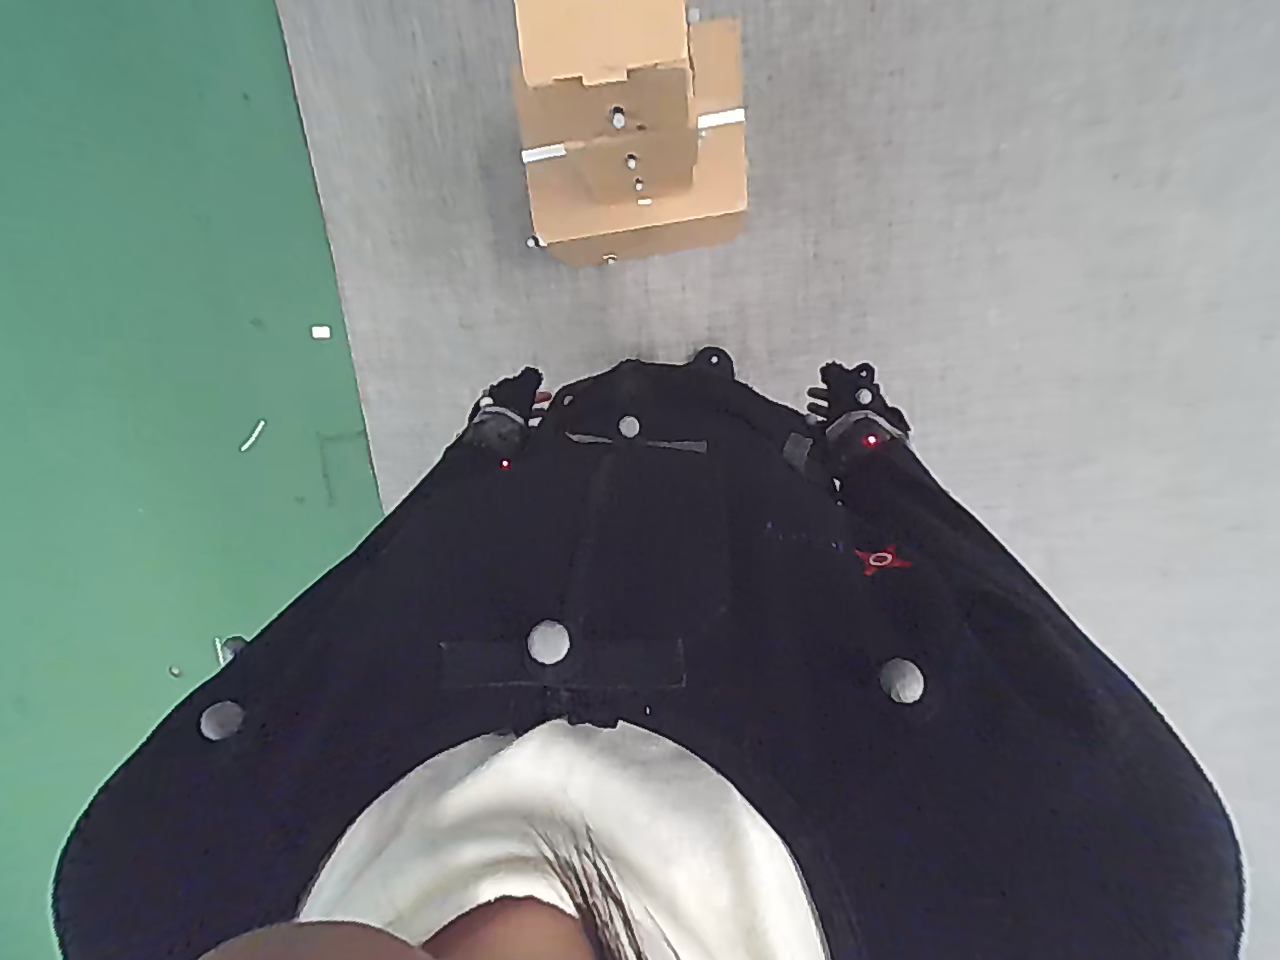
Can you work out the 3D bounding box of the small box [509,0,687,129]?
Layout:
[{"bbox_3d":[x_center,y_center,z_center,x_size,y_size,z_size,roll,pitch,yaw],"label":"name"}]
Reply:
[{"bbox_3d":[-0.036,-0.503,0.583,0.168,0.176,0.179,-2,106,7],"label":"small box"}]

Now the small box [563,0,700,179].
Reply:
[{"bbox_3d":[-0.016,-0.536,0.742,0.179,0.176,0.168,-8,105,7],"label":"small box"}]

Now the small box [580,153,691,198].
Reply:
[{"bbox_3d":[-0.007,-0.584,0.899,0.179,0.176,0.168,-4,105,6],"label":"small box"}]
